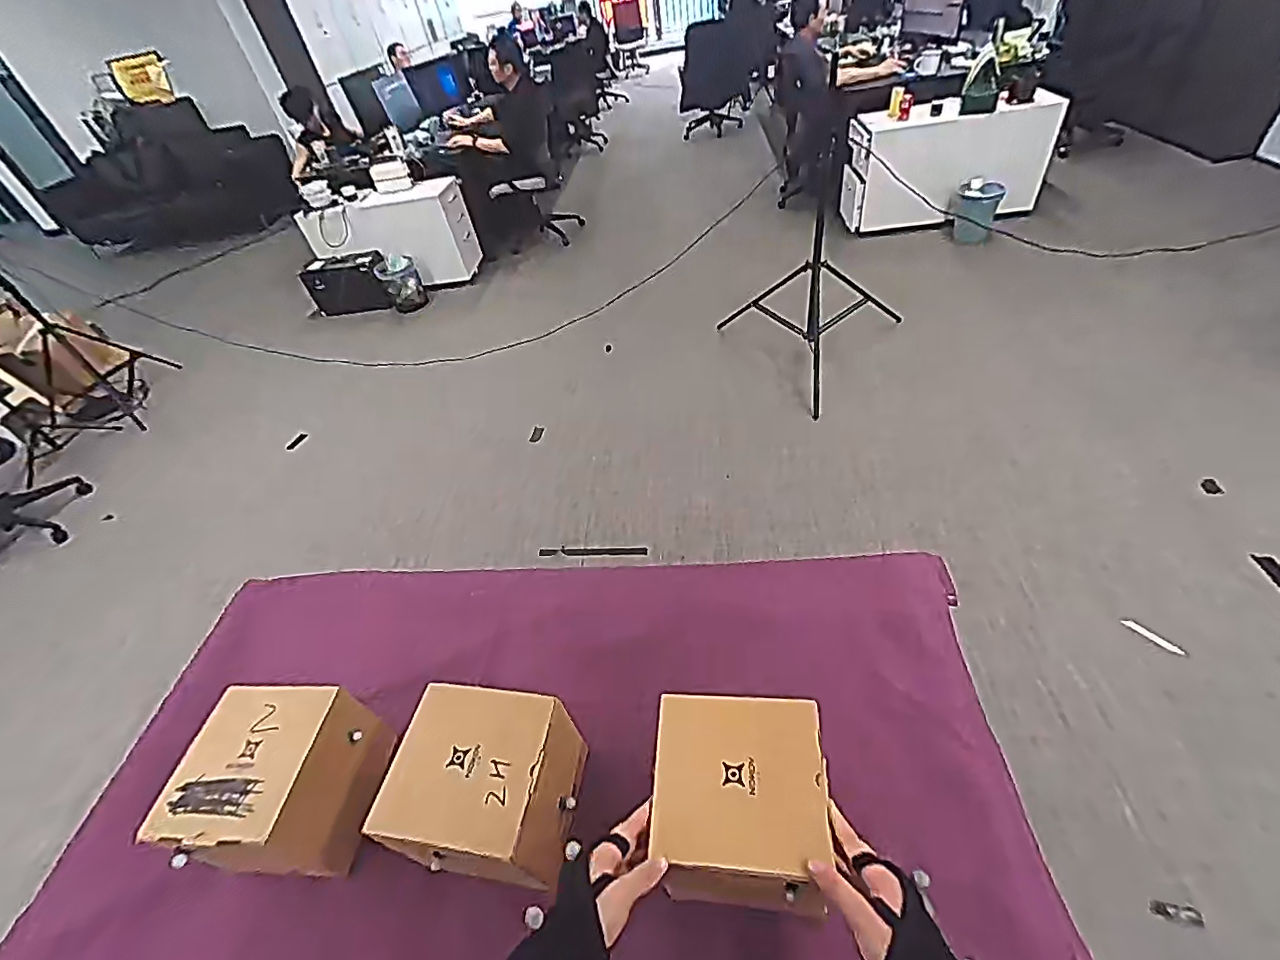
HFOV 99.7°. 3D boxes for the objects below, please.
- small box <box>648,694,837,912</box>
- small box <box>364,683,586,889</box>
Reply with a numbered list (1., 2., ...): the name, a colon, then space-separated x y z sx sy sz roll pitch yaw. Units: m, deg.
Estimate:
1. small box: 0.113 0.360 0.606 0.179 0.176 0.168 -1 43 10
2. small box: -0.182 0.371 0.657 0.179 0.176 0.168 2 45 13
